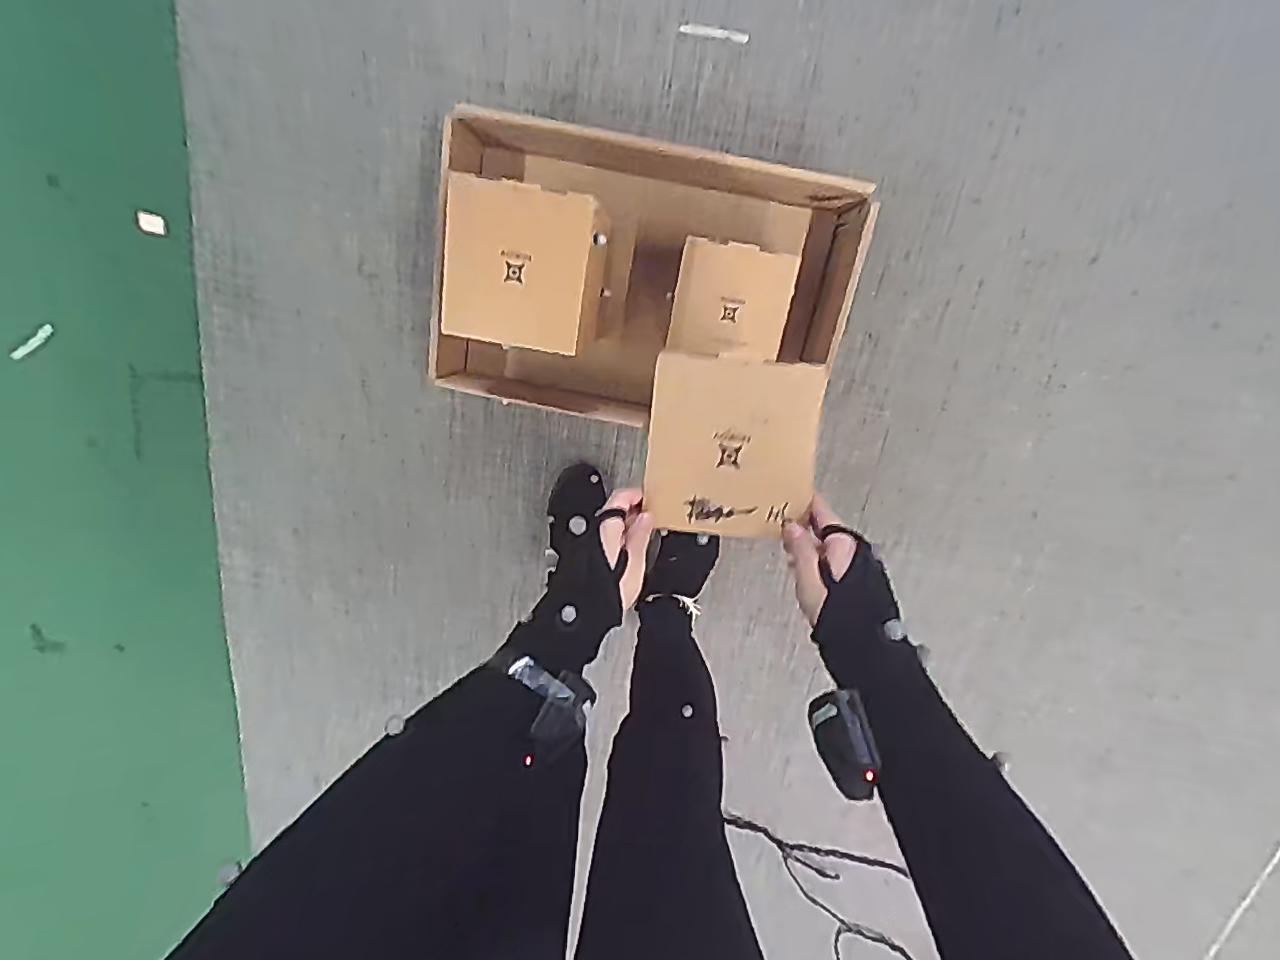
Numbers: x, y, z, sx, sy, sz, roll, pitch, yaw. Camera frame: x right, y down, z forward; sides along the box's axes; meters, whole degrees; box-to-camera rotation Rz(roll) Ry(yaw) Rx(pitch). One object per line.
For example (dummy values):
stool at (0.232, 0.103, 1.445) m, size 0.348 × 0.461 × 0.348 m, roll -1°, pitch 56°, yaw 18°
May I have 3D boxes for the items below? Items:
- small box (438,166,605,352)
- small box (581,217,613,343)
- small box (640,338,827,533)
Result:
small box at (-0.142, -0.272, 0.693) m, size 0.168 × 0.176 × 0.179 m, roll 10°, pitch 107°, yaw -1°
small box at (-0.139, -0.322, 0.847) m, size 0.168 × 0.176 × 0.179 m, roll 11°, pitch 107°, yaw -2°
small box at (0.096, -0.048, 0.606) m, size 0.168 × 0.176 × 0.179 m, roll 7°, pitch 94°, yaw 5°
